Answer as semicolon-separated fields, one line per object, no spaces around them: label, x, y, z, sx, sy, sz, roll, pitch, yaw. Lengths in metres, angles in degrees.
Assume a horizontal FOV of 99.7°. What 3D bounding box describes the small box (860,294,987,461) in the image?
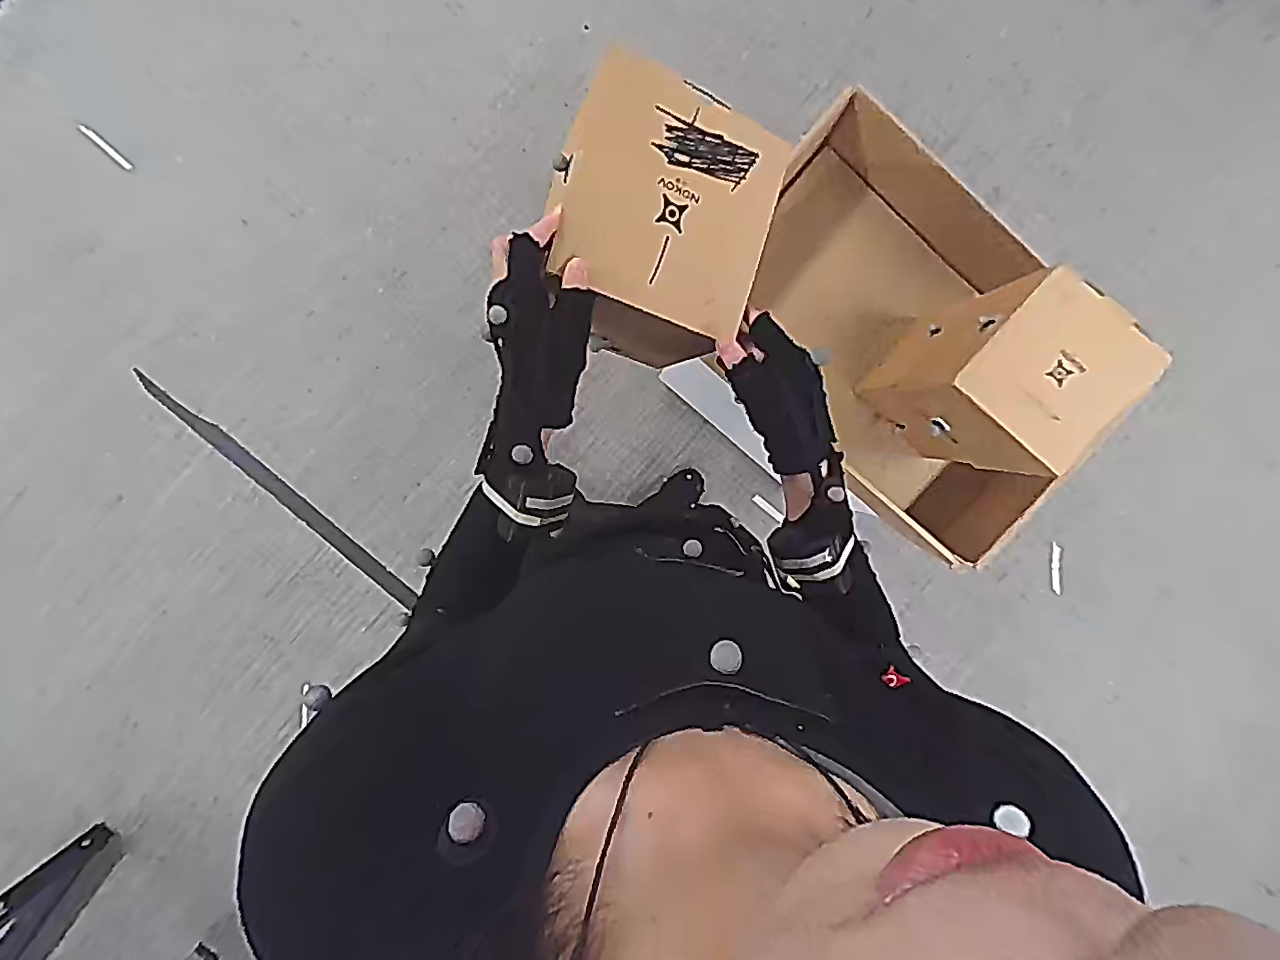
small box;0.482;-0.151;0.832;0.179;0.176;0.168;41;95;-3

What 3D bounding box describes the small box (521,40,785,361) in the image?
small box;-0.001;-0.224;0.494;0.168;0.176;0.179;16;89;-21

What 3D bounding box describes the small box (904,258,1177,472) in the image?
small box;0.471;-0.132;0.670;0.168;0.176;0.179;40;96;-1
